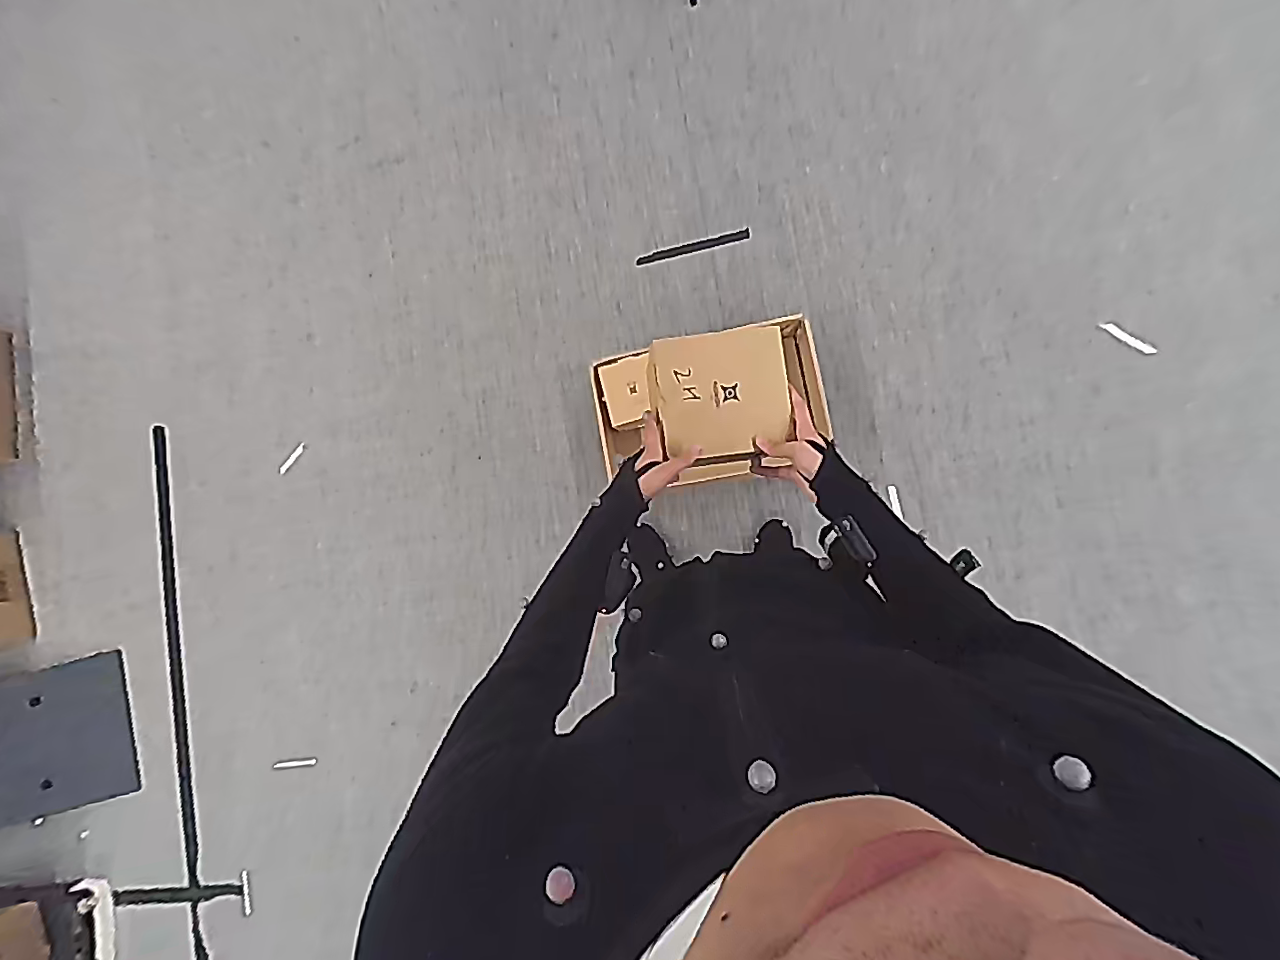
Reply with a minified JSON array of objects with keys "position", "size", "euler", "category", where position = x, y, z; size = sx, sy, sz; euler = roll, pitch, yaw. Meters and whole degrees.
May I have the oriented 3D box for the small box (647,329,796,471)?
[{"position":[0.107,-0.107,0.783],"size":[0.179,0.176,0.168],"euler":[-7,88,-1],"category":"small box"}]
